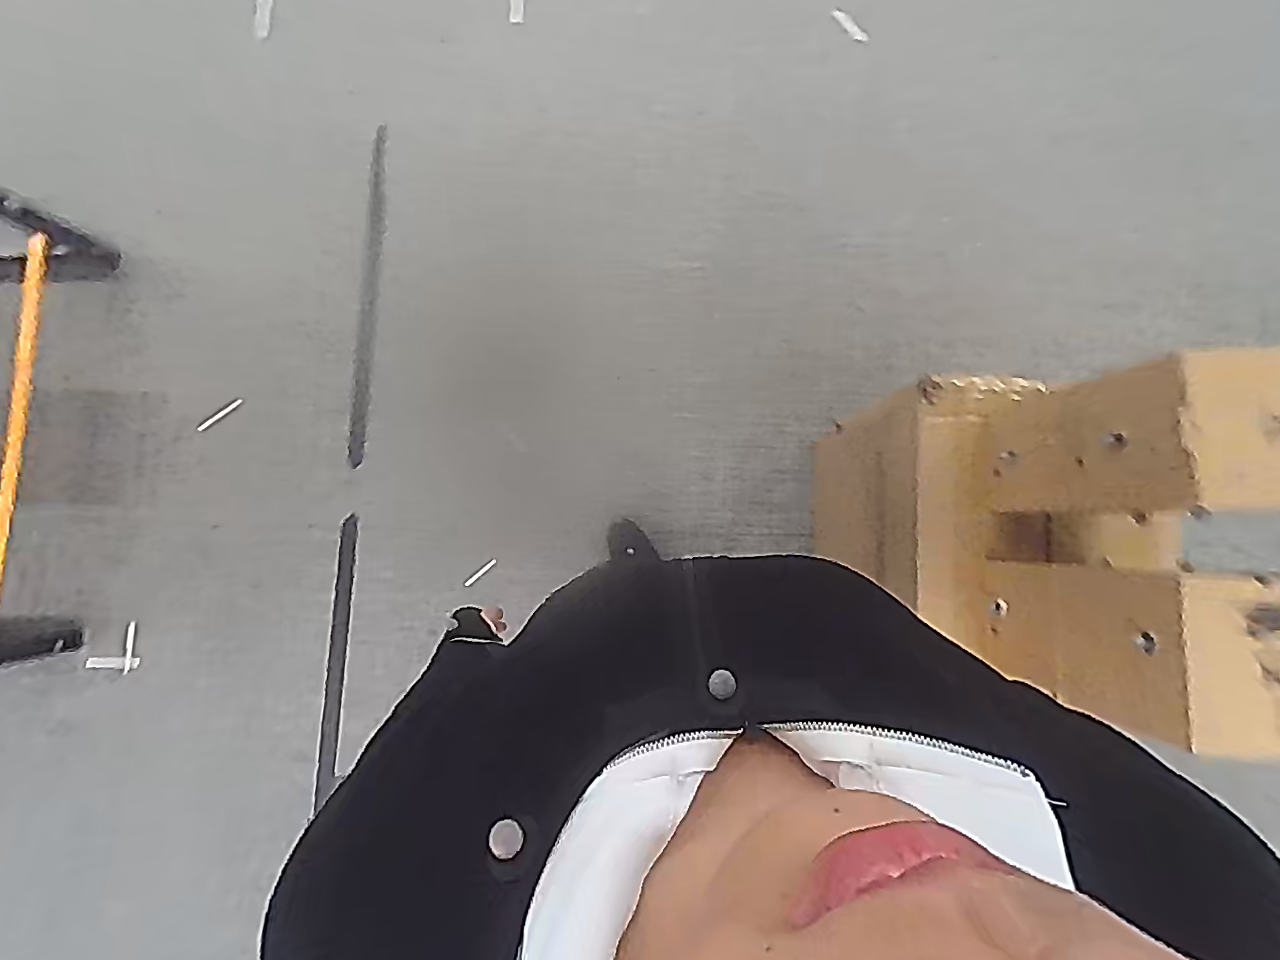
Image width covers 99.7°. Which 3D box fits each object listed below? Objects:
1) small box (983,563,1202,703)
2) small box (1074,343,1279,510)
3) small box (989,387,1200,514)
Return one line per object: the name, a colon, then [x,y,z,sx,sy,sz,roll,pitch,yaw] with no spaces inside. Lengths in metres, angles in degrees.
small box: [0.626,0.206,0.770,0.179,0.176,0.168,2,82,4]
small box: [0.645,-0.051,0.627,0.179,0.176,0.168,-1,85,3]
small box: [0.650,-0.036,0.791,0.179,0.176,0.168,1,86,3]
